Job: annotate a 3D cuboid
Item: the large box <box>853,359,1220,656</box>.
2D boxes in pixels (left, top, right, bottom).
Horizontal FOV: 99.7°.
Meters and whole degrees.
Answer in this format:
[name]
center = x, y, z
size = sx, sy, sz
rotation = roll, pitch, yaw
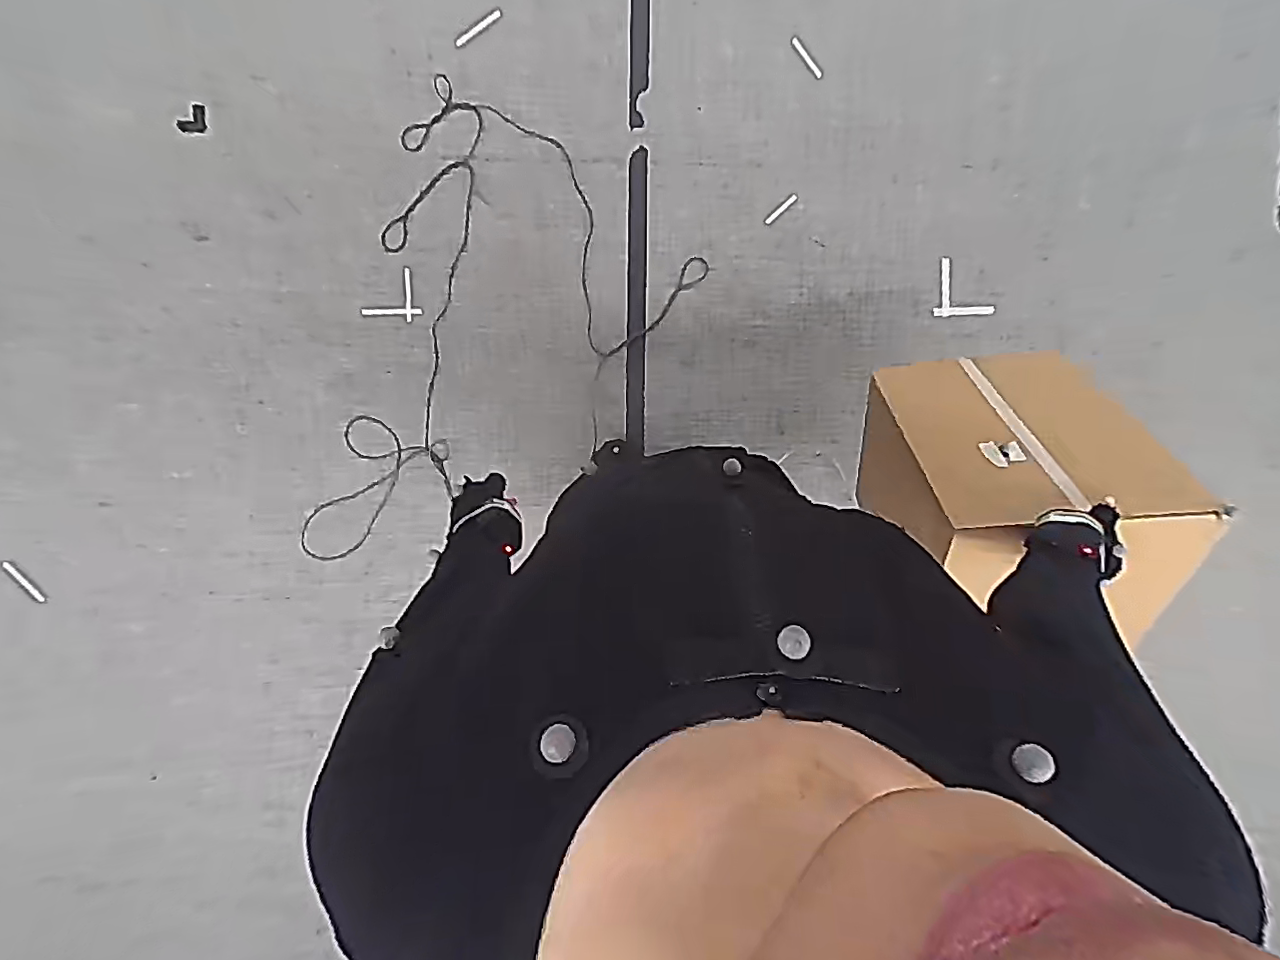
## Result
[large box]
center = 0.588, 0.039, 0.923
size = 0.320, 0.408, 0.320
rotation = -5, 131, 8
